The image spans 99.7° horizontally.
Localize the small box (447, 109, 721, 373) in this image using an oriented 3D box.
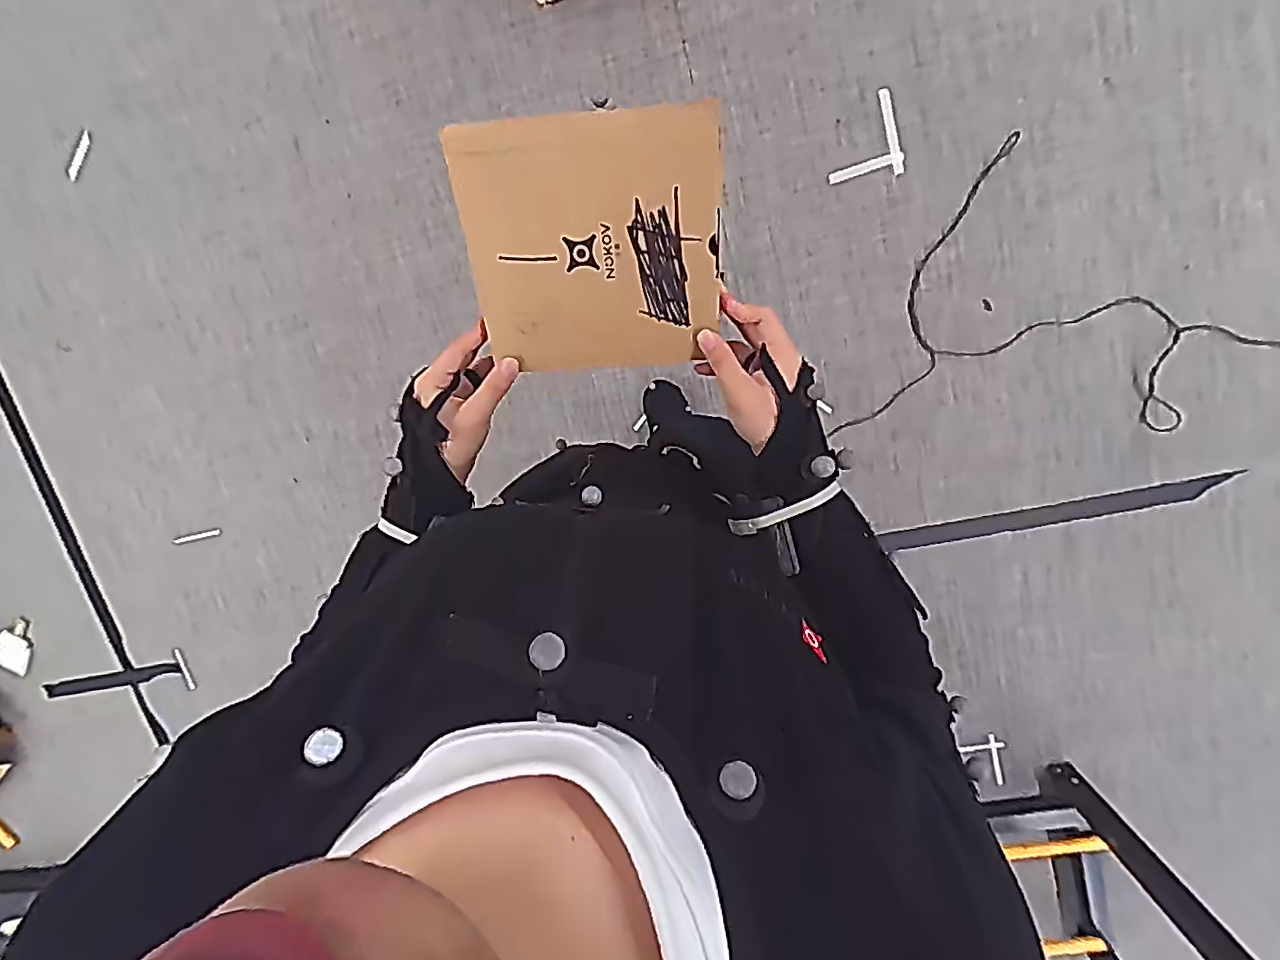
[{"bbox_3d":[-0.031,-0.202,0.446,0.179,0.176,0.168,-3,123,4],"label":"small box"}]
